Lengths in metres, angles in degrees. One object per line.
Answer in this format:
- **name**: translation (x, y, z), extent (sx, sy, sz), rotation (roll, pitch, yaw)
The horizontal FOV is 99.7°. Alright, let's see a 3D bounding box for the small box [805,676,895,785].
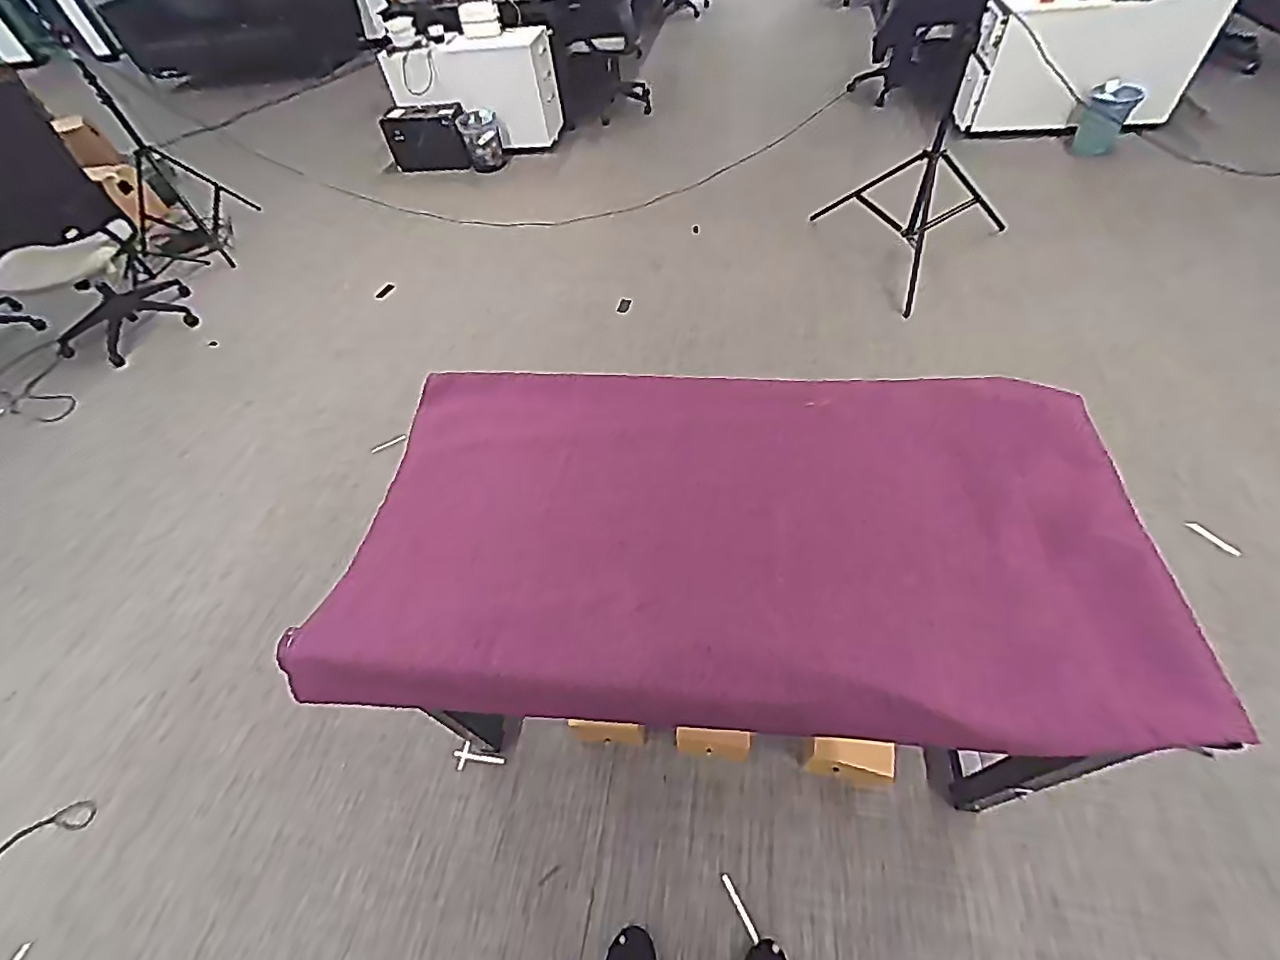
- **small box**: translation (0.487, 0.590, 1.267), extent (0.168, 0.176, 0.179), rotation (10, 53, 15)

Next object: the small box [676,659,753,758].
- **small box**: translation (0.185, 0.563, 1.322), extent (0.168, 0.176, 0.179), rotation (5, 52, 10)
